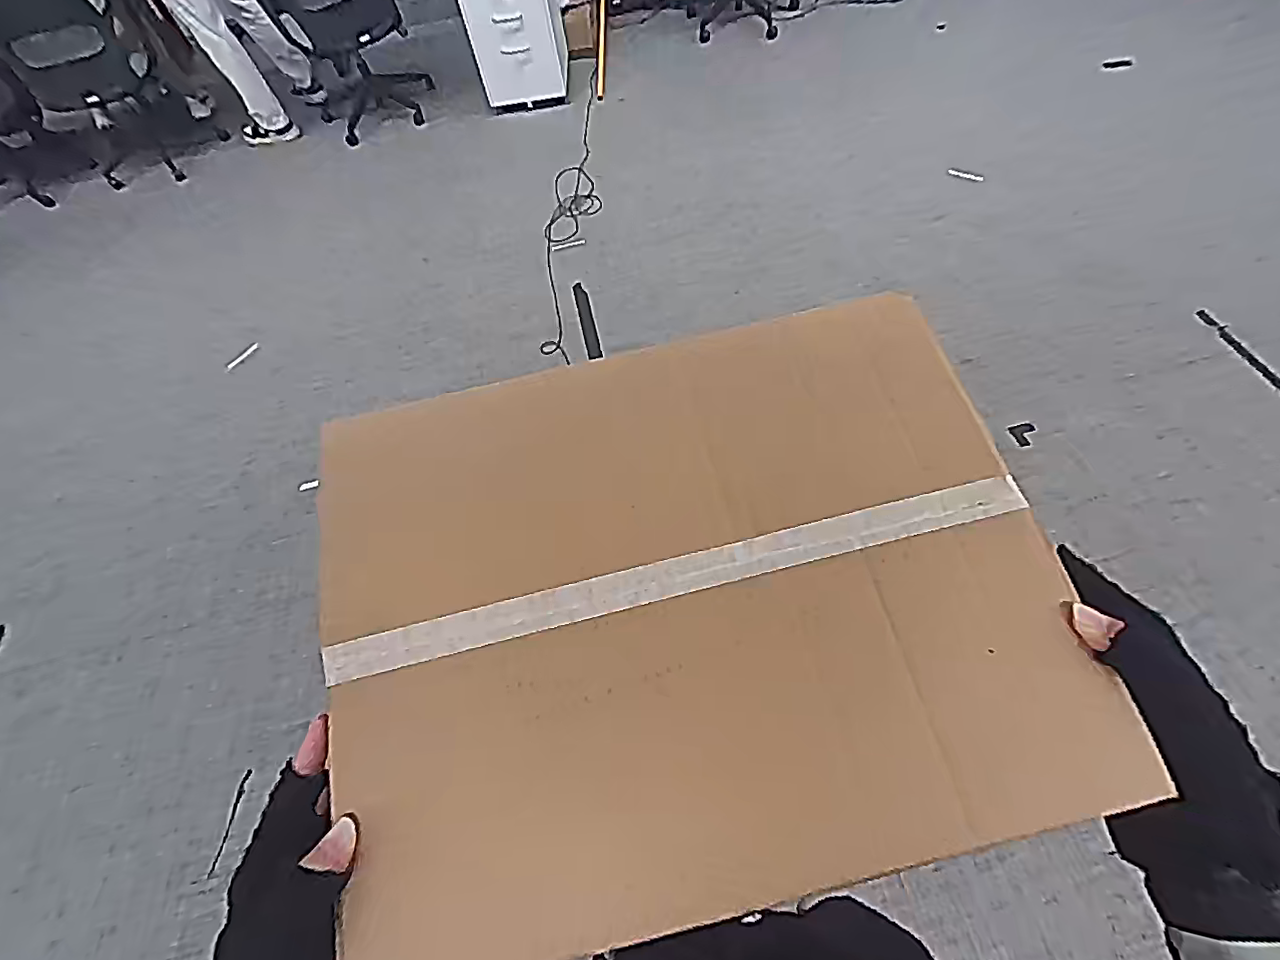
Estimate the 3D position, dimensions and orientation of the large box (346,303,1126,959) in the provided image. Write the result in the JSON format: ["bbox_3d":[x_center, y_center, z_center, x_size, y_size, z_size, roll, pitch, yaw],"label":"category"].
[{"bbox_3d":[0.032,0.113,0.462,0.408,0.320,0.320,-14,69,-2],"label":"large box"}]
